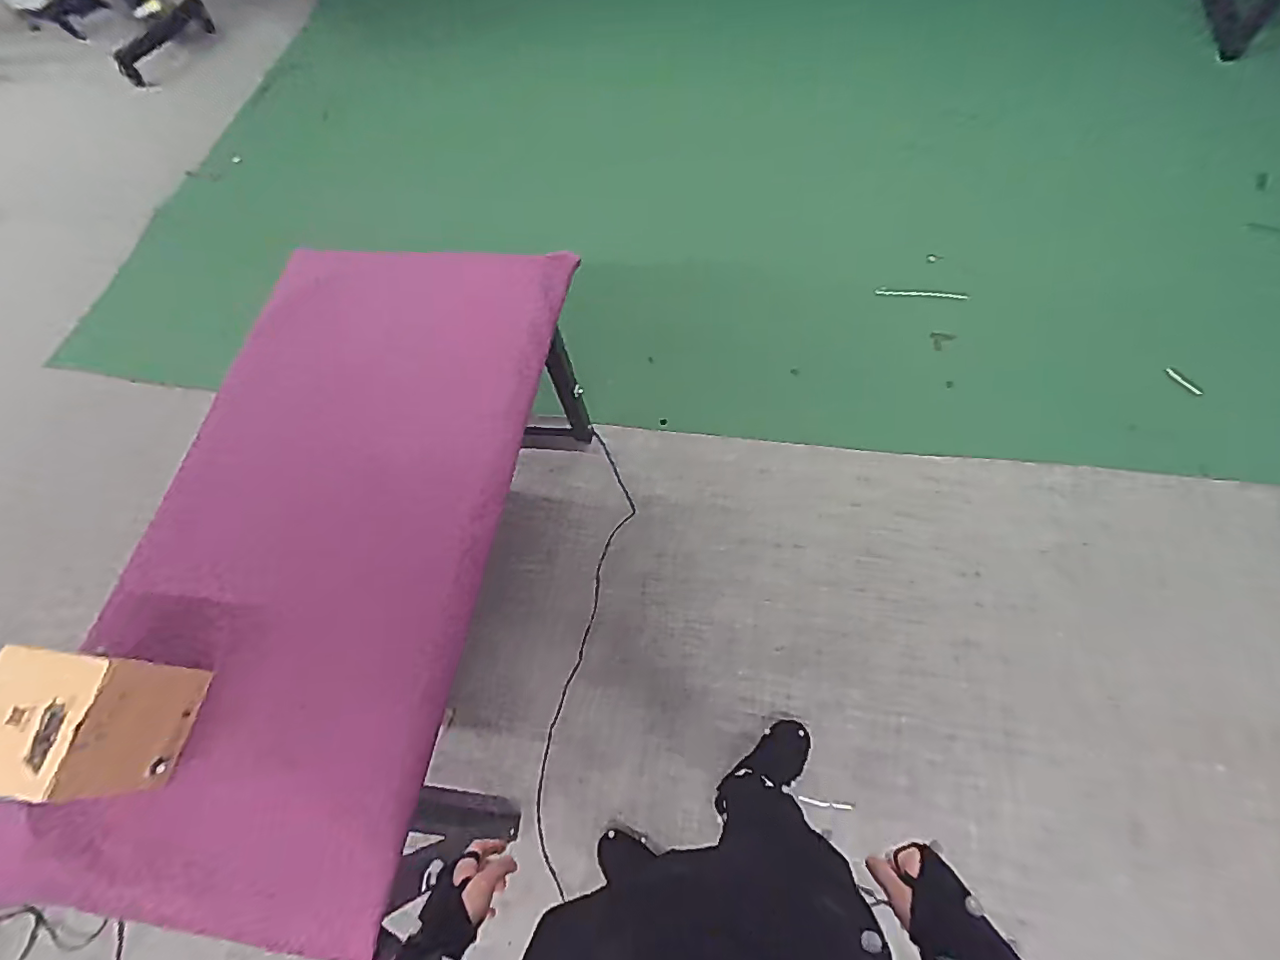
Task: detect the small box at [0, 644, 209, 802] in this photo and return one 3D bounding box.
[{"bbox_3d":[-0.772,0.337,0.760,0.179,0.176,0.168,5,65,9],"label":"small box"}]
